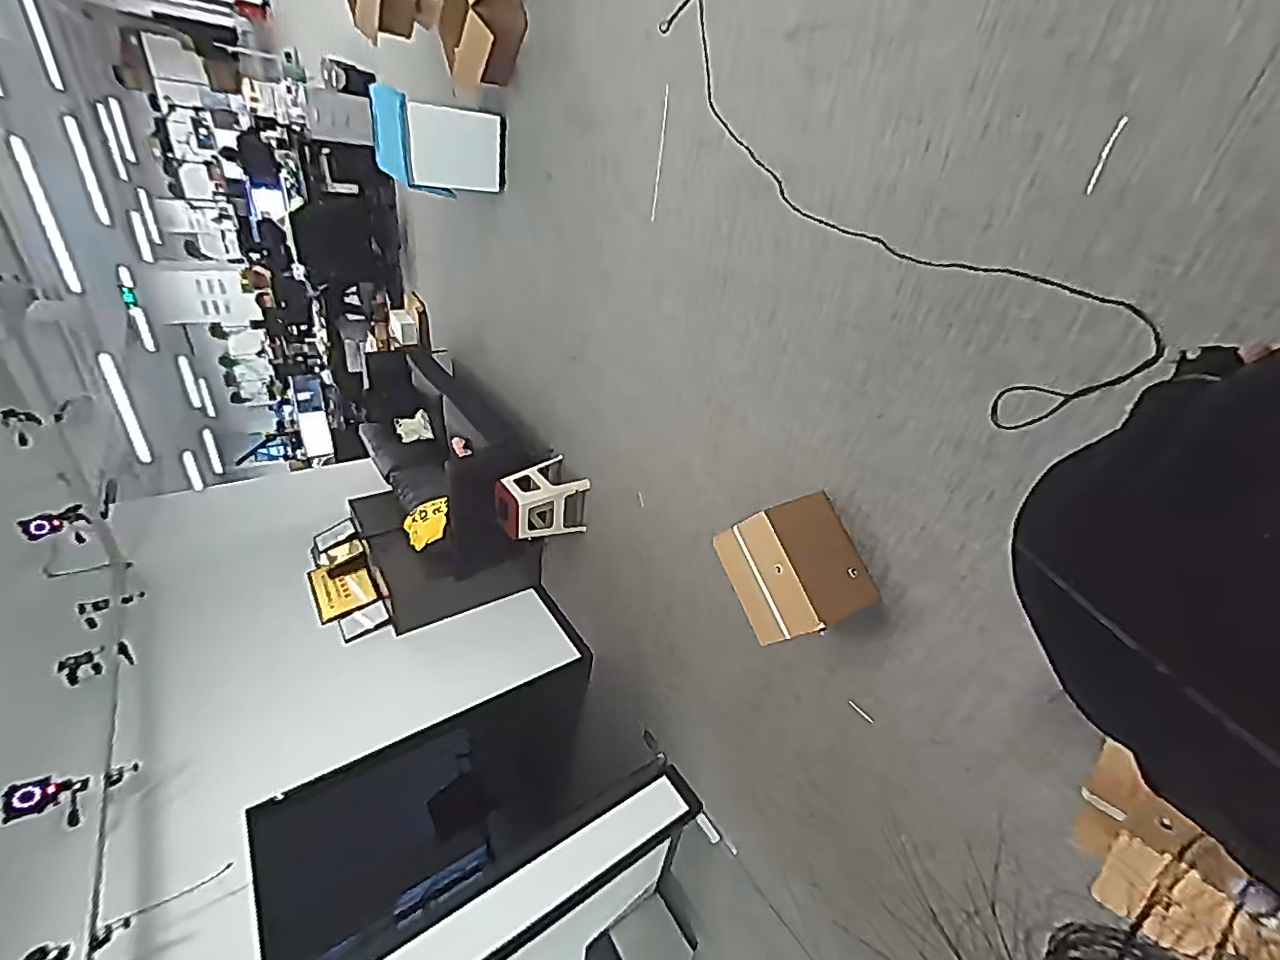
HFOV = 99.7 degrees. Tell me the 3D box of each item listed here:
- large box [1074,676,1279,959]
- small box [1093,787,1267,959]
[{"bbox_3d":[1.177,0.666,1.062,0.408,0.320,0.320,25,123,49],"label":"large box"},{"bbox_3d":[0.953,0.693,0.956,0.168,0.176,0.179,27,123,49],"label":"small box"}]
